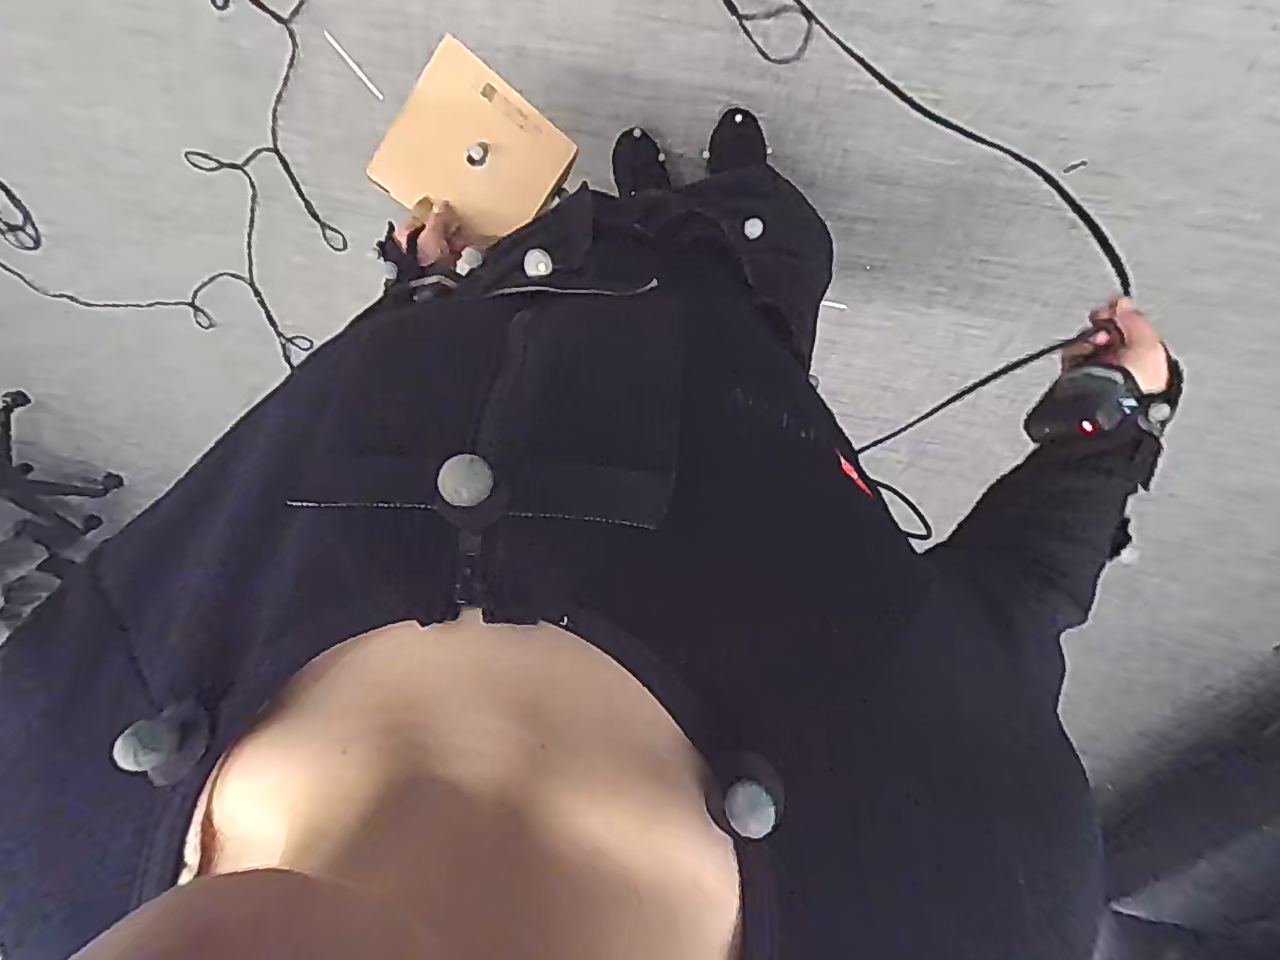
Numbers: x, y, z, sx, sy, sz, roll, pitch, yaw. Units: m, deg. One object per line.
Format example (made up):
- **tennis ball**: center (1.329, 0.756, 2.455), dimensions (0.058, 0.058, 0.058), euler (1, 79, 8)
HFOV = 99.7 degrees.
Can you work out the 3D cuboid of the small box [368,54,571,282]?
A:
- **small box**: center (-0.201, -0.371, 0.672), dimensions (0.168, 0.179, 0.176), euler (32, 99, -20)
